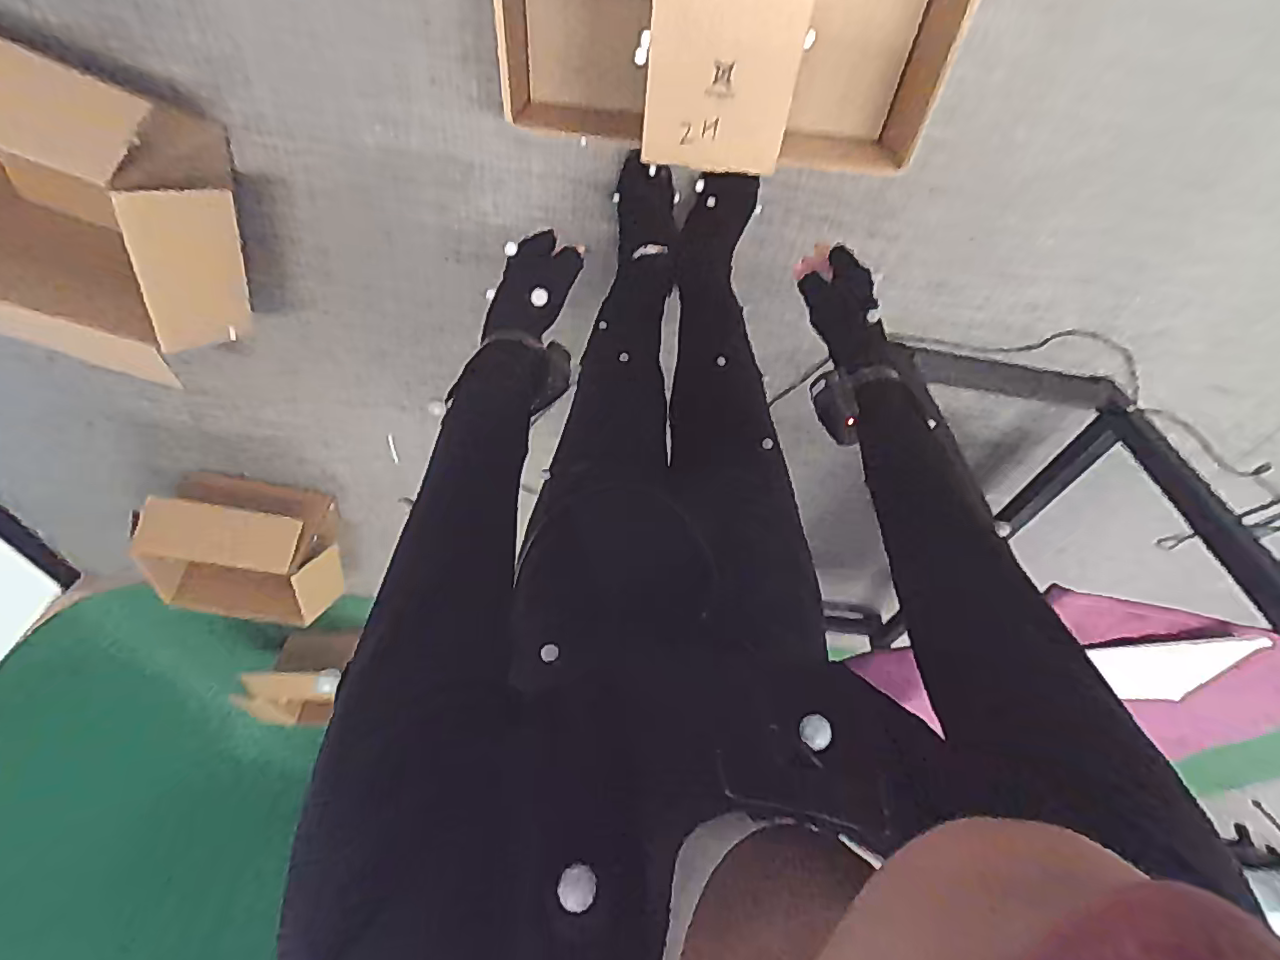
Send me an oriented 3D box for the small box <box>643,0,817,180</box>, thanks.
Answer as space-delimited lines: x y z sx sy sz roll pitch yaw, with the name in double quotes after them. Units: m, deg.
0.093 -0.493 0.655 0.168 0.176 0.179 5 137 -3 "small box"
